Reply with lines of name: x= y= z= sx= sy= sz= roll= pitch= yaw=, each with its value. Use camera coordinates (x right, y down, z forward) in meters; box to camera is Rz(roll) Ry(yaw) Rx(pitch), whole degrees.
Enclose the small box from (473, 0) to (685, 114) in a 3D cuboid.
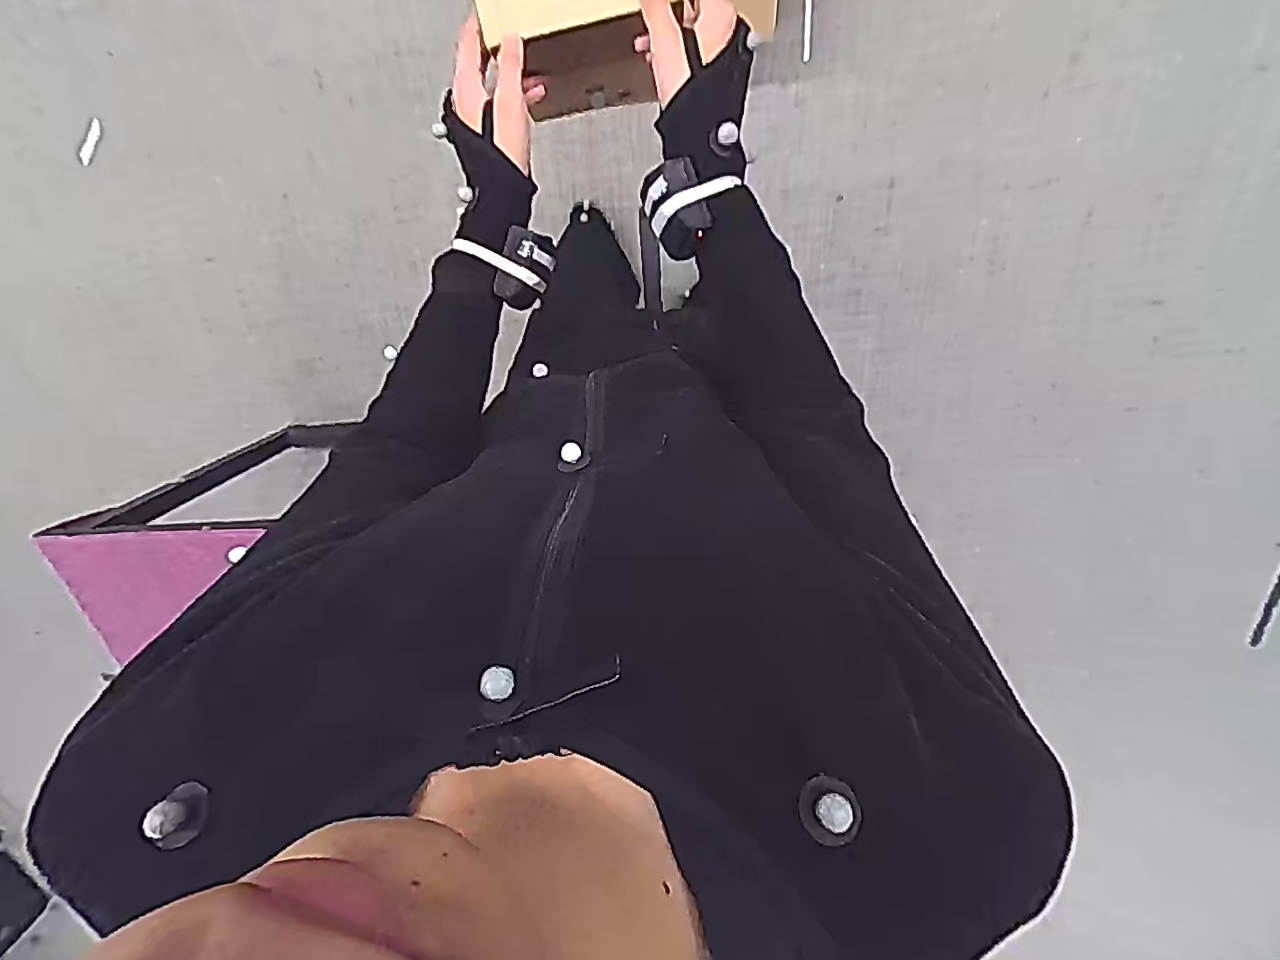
small box: x=-0.056 y=-0.464 z=0.475 sx=0.168 sy=0.176 sz=0.179 roll=-9 pitch=105 yaw=6
